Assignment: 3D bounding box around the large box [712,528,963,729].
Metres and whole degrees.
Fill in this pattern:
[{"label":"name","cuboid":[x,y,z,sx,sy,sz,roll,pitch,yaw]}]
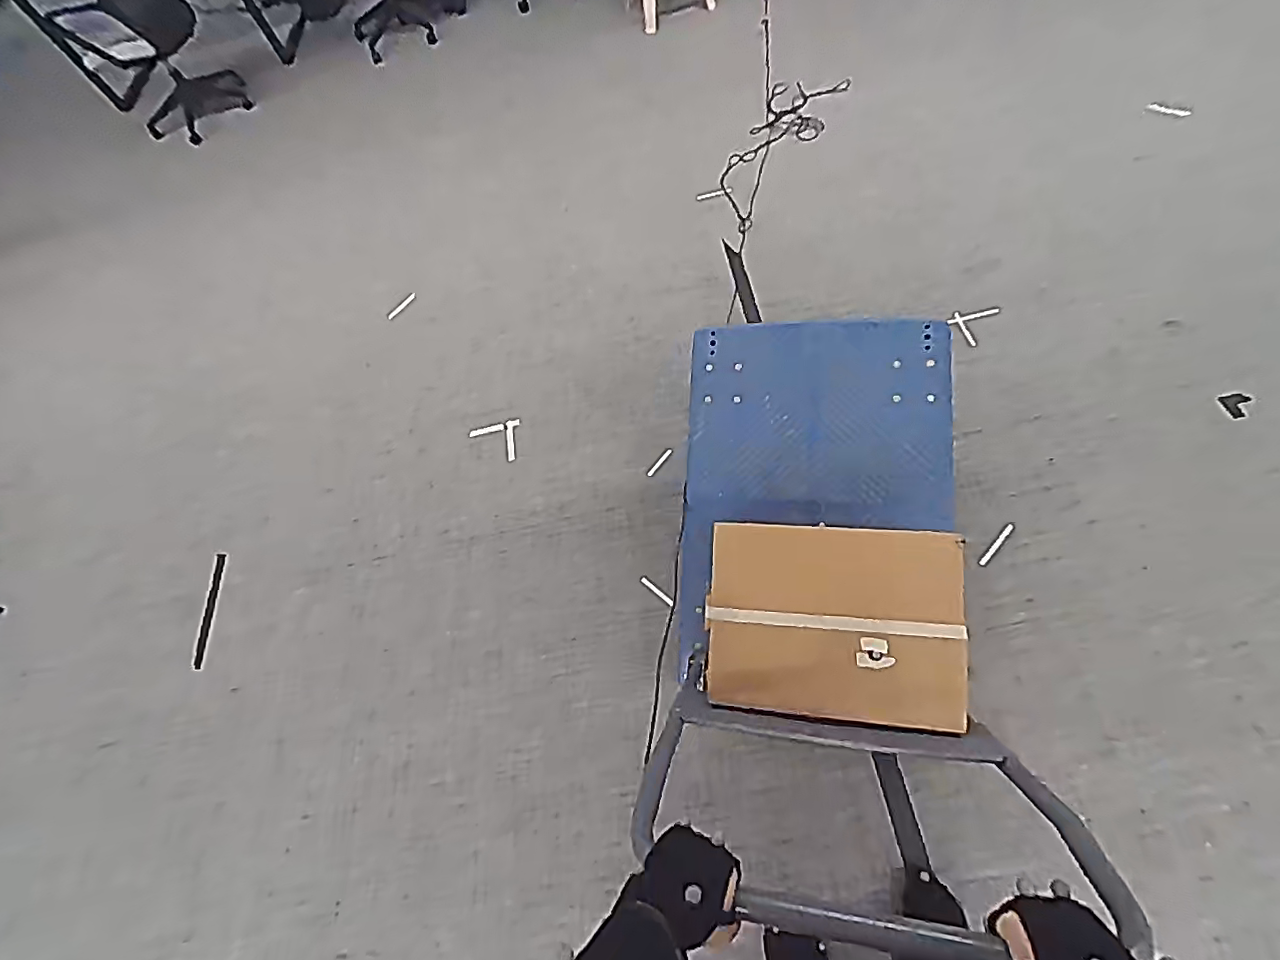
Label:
[{"label":"large box","cuboid":[0.353,0.263,1.060,0.408,0.320,0.320,1,84,12]}]
